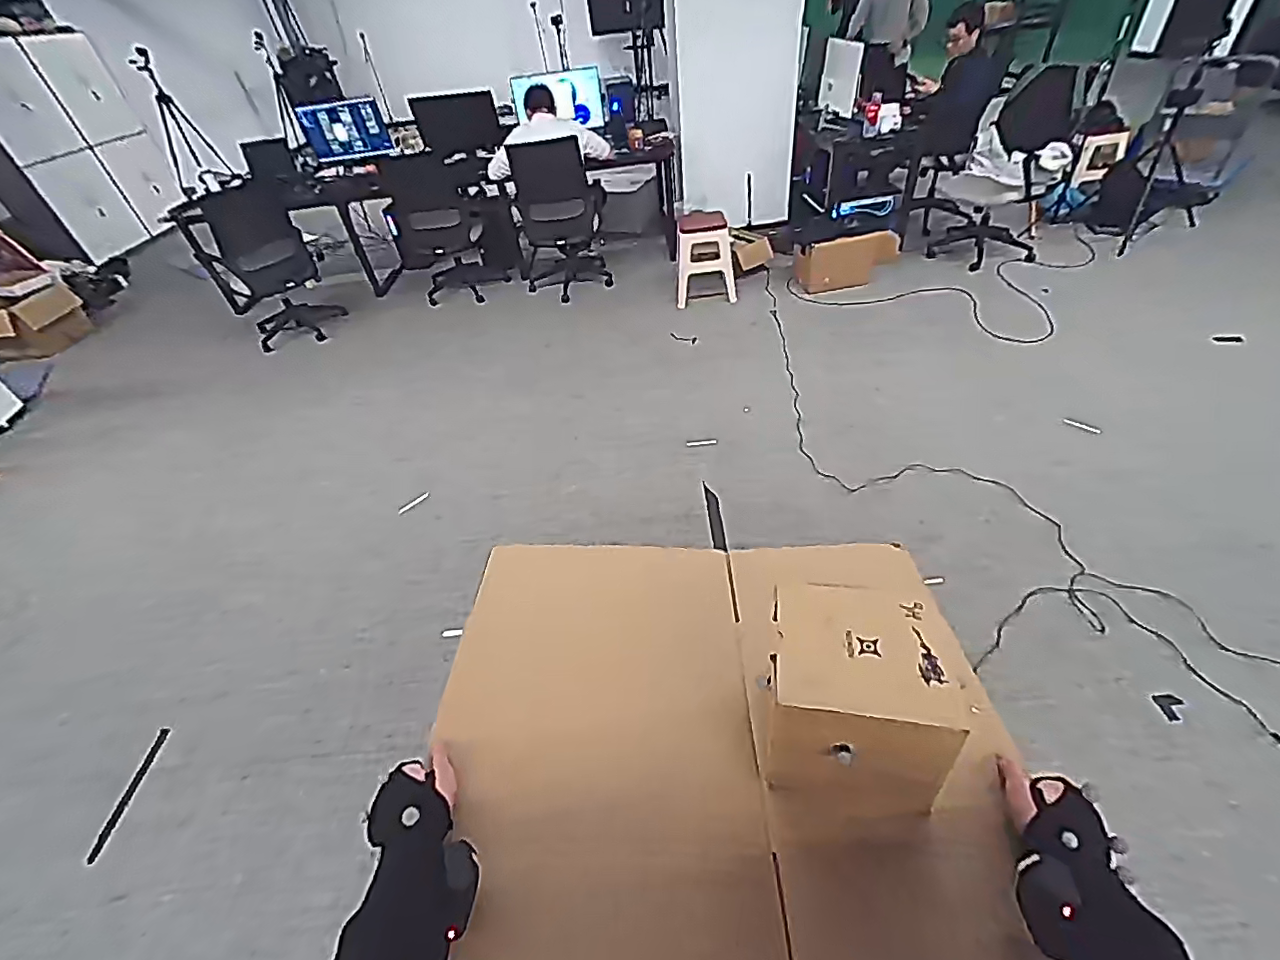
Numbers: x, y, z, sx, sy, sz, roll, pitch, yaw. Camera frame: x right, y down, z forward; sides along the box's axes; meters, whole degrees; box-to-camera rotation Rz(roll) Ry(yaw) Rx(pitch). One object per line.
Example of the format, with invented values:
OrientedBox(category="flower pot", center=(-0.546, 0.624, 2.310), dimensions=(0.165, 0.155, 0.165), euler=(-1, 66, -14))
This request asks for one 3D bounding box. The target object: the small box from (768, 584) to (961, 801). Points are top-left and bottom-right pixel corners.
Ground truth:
OrientedBox(category="small box", center=(0.240, 0.243, 0.627), dimensions=(0.179, 0.176, 0.168), euler=(2, 38, 13))
